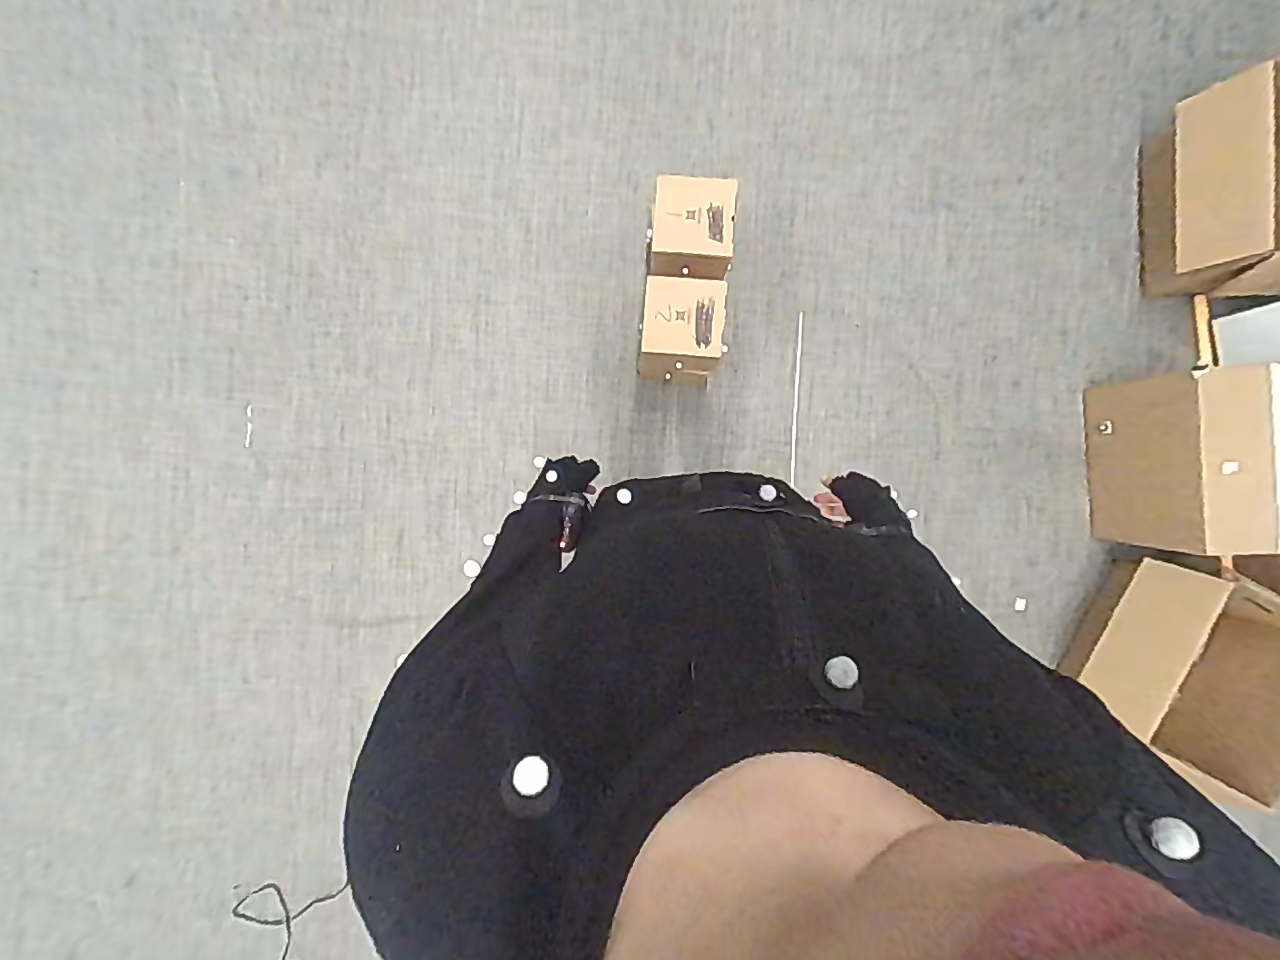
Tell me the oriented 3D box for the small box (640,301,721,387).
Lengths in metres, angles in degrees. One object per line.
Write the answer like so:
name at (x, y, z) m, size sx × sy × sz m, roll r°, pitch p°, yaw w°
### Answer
small box at (0.101, -0.343, 1.395) m, size 0.179 × 0.176 × 0.168 m, roll 9°, pitch 91°, yaw 1°
